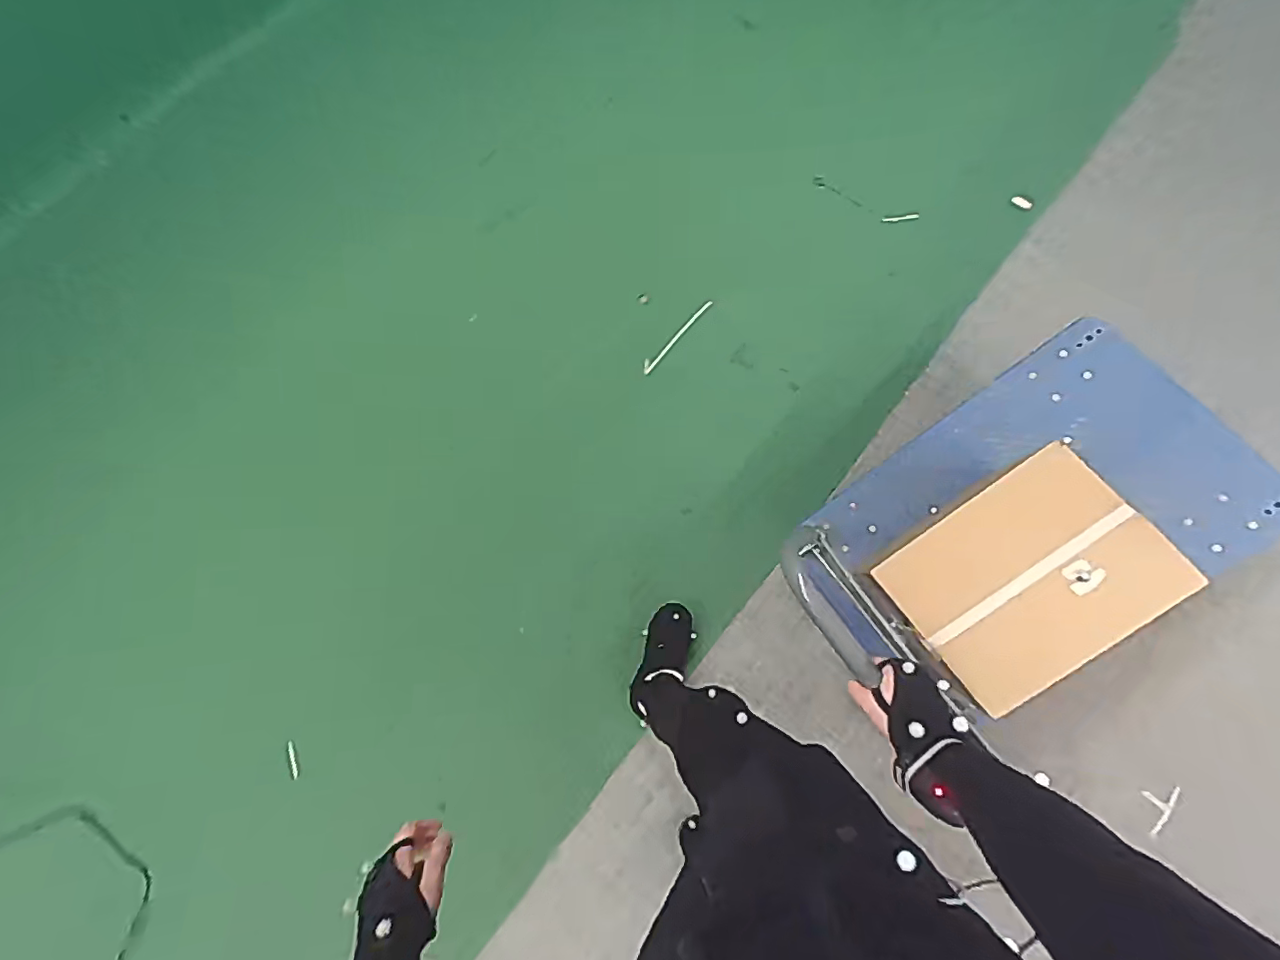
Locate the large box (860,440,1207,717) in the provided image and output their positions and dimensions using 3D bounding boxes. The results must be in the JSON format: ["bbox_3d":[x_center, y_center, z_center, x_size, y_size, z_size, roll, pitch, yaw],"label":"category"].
[{"bbox_3d":[0.713,0.192,1.072,0.408,0.320,0.320,-38,73,7],"label":"large box"}]
